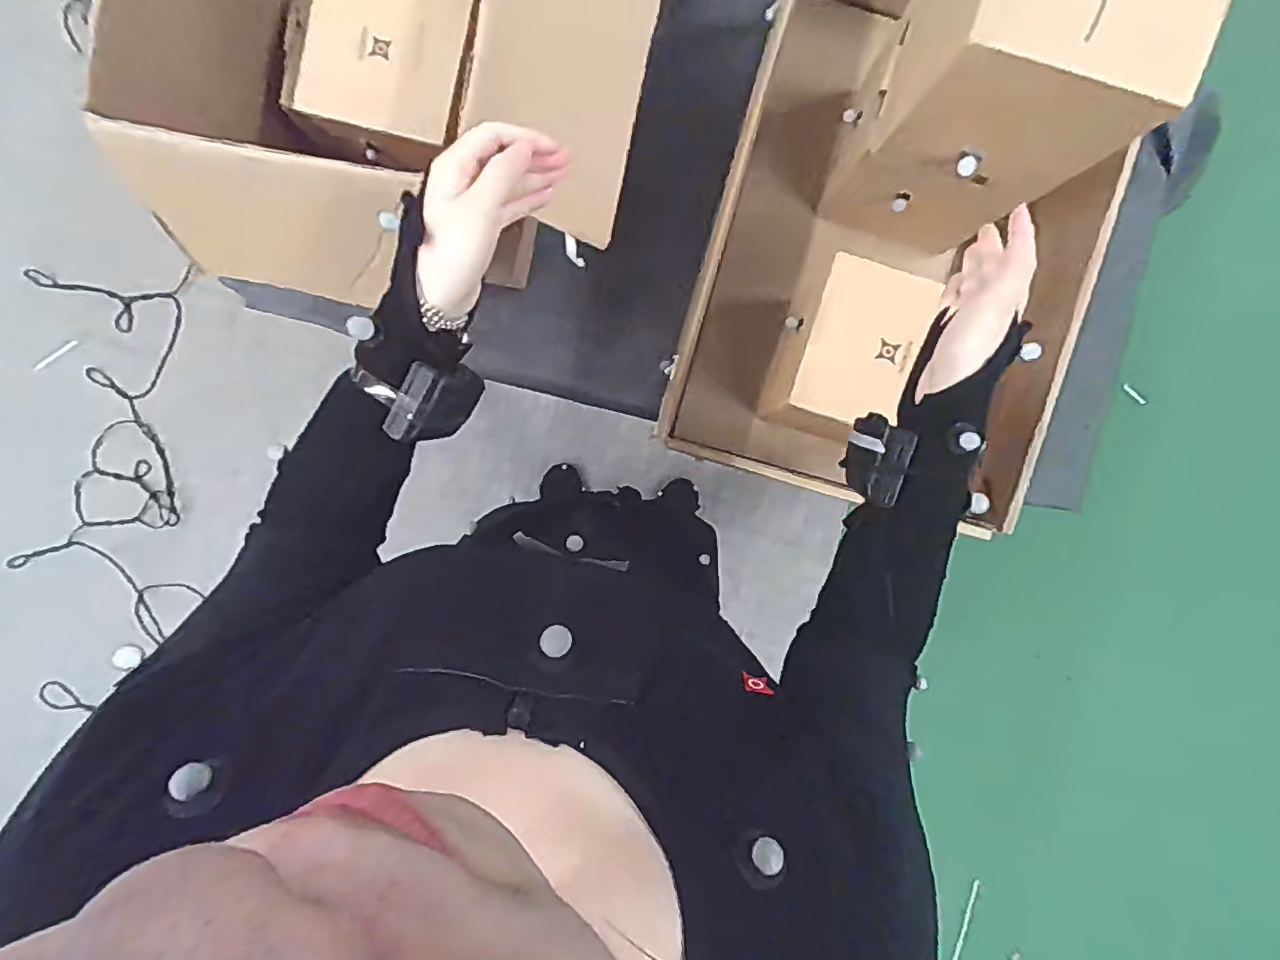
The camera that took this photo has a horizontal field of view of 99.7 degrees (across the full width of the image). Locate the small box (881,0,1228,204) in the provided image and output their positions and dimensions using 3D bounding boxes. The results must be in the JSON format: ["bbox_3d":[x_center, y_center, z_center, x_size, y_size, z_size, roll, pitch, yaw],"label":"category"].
[{"bbox_3d":[0.333,-0.372,0.455,0.168,0.176,0.179,17,96,-1],"label":"small box"}]
